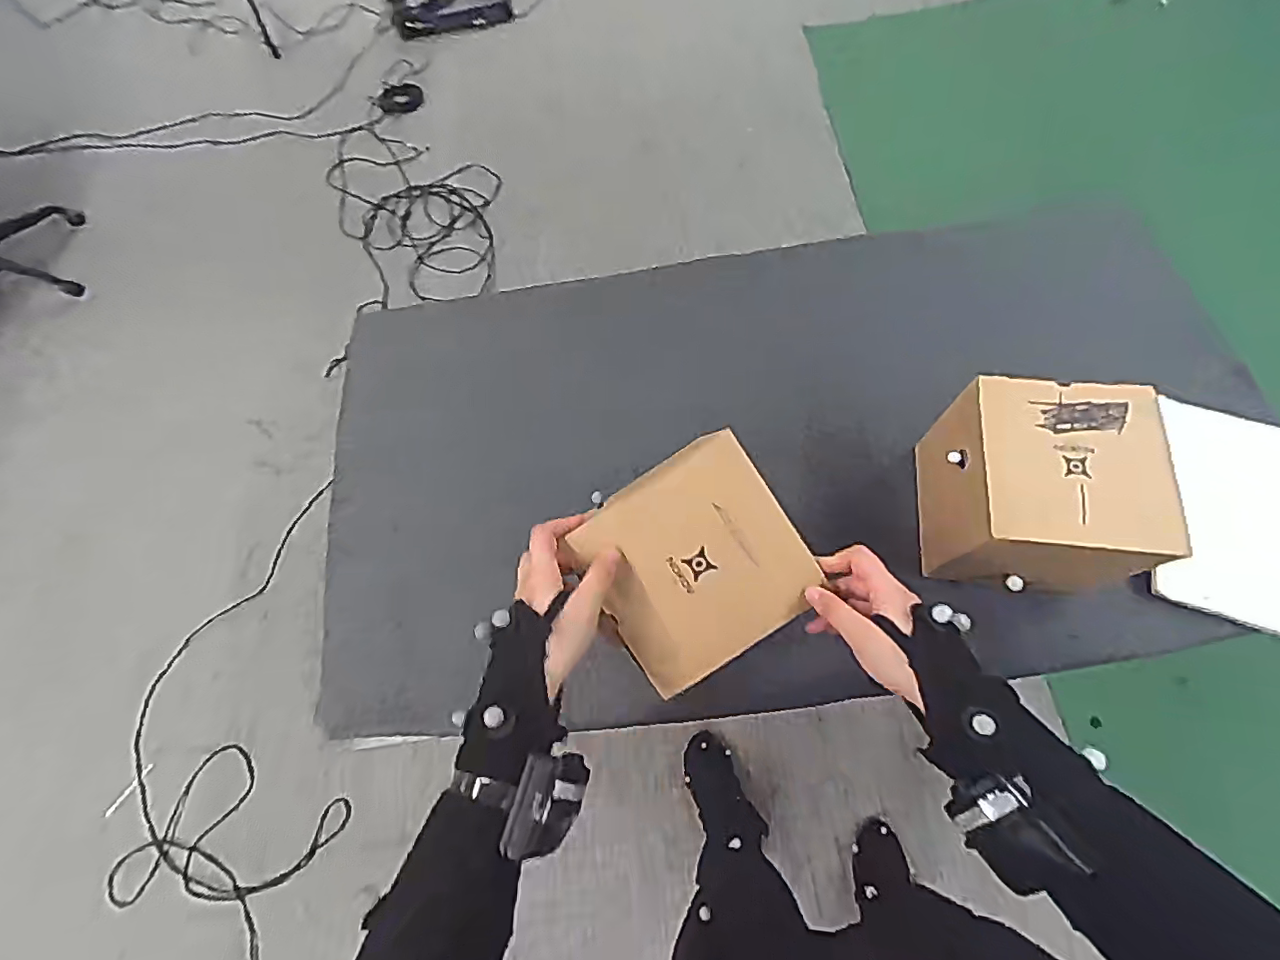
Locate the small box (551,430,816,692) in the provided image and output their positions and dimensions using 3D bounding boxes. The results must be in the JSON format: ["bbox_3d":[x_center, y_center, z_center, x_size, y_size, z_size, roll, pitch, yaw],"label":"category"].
[{"bbox_3d":[0.038,0.068,0.542,0.179,0.176,0.168,-34,93,0],"label":"small box"}]

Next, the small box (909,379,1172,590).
[{"bbox_3d":[0.411,0.012,0.594,0.168,0.176,0.179,5,69,8],"label":"small box"}]
